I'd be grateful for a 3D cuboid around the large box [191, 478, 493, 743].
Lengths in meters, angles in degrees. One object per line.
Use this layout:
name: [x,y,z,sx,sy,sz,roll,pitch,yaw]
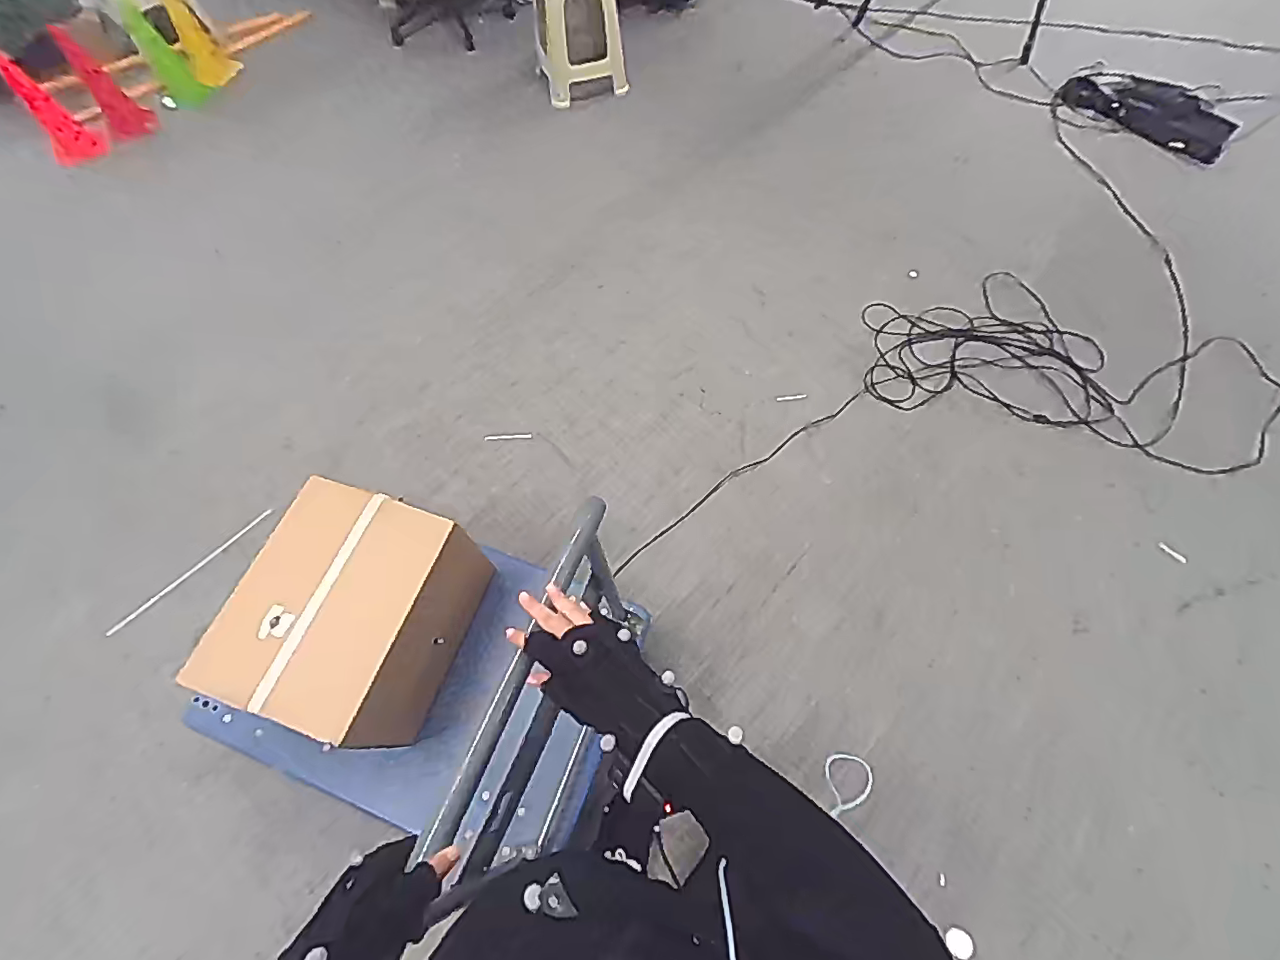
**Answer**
large box: [-0.547,0.268,1.094,0.320,0.320,0.408,17,66,9]
